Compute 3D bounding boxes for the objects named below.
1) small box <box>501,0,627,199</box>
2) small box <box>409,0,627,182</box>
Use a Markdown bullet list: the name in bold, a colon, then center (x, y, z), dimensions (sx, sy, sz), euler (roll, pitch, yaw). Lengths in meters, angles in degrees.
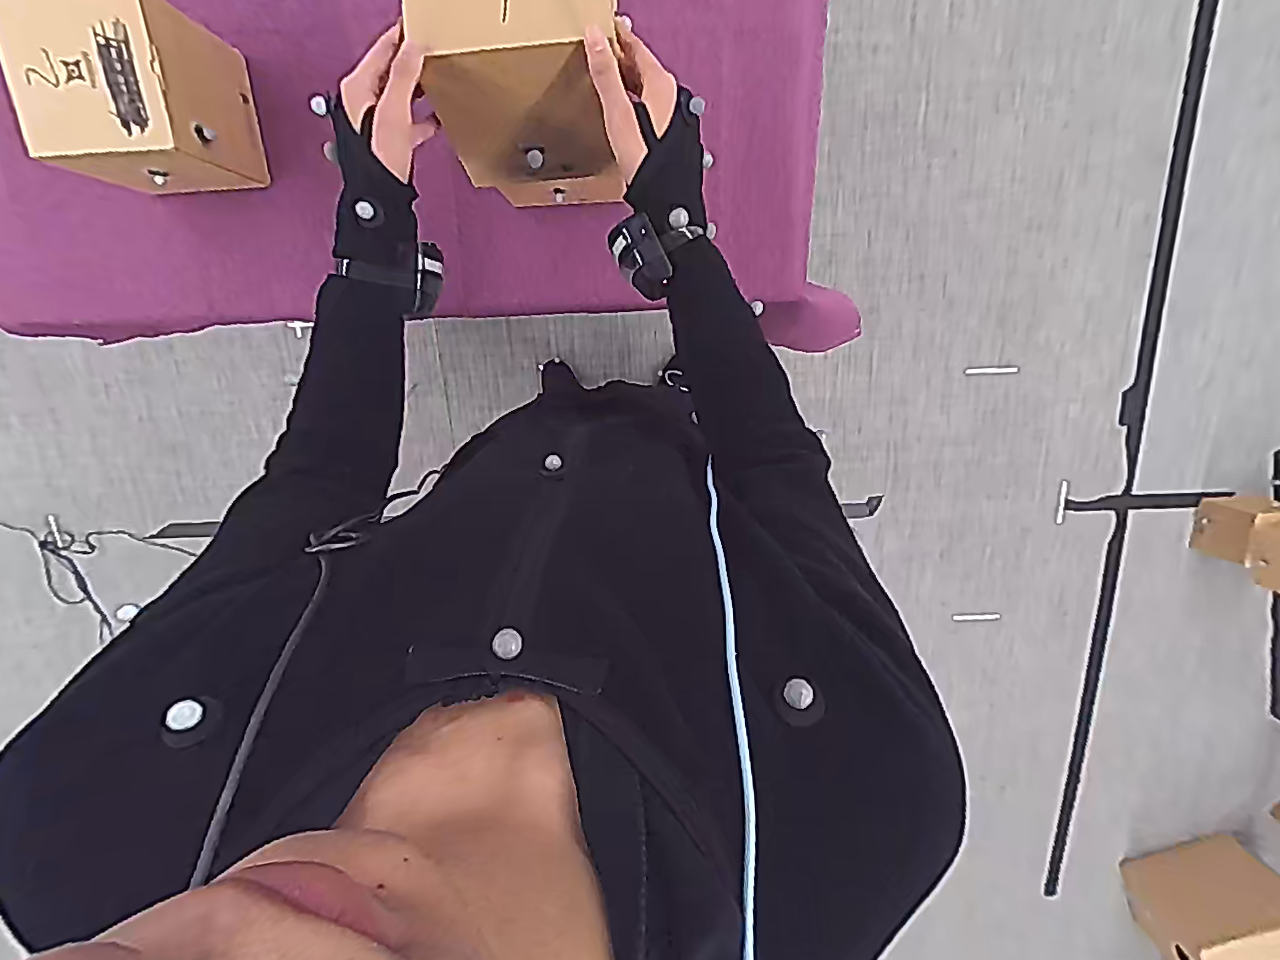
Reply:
- **small box**: center (-0.102, -0.468, 0.688), dimensions (0.168, 0.176, 0.179), euler (-2, 105, 0)
- **small box**: center (-0.101, -0.415, 0.504), dimensions (0.168, 0.176, 0.179), euler (-4, 87, 1)
